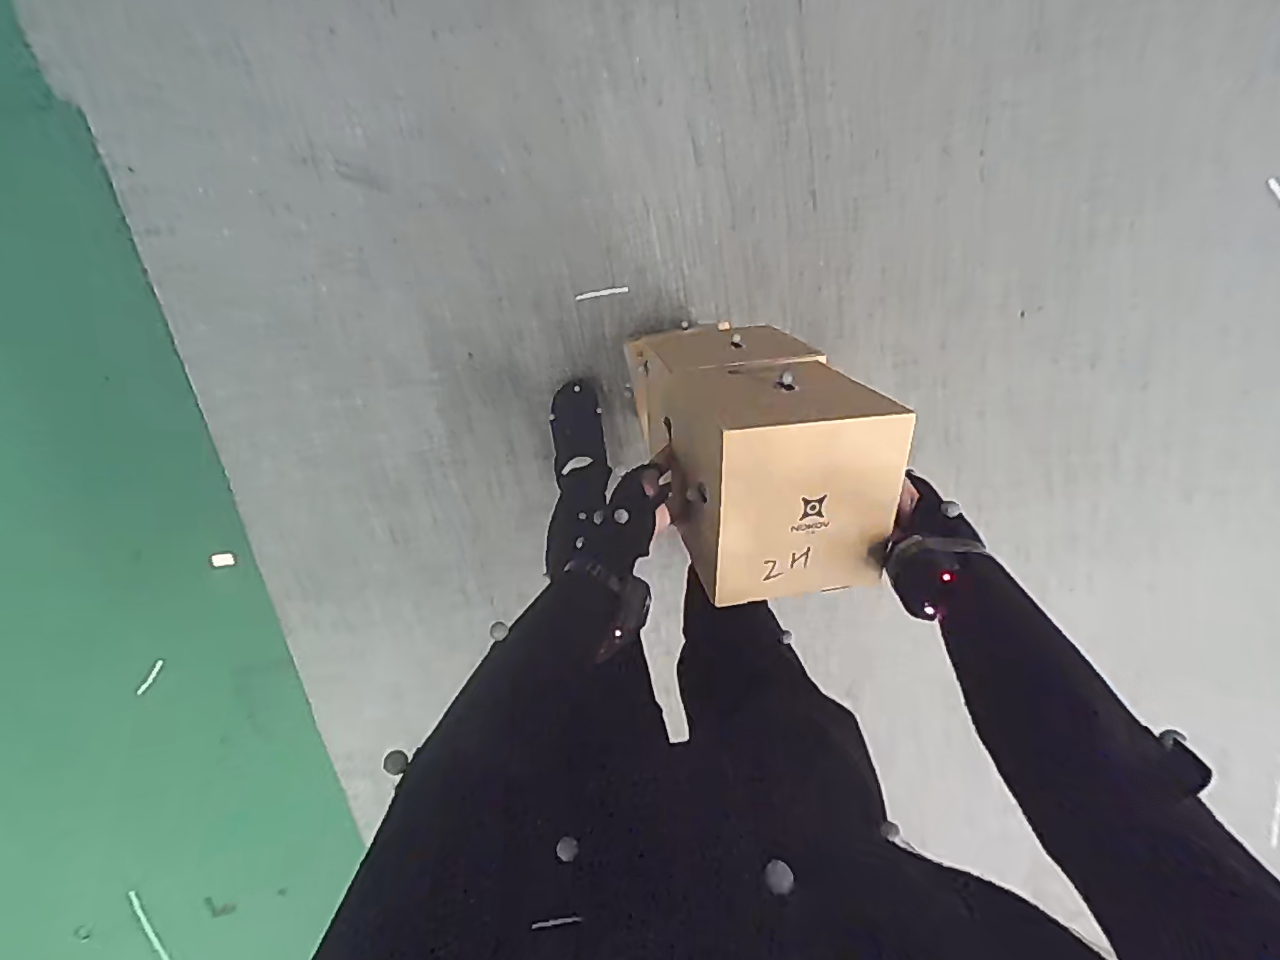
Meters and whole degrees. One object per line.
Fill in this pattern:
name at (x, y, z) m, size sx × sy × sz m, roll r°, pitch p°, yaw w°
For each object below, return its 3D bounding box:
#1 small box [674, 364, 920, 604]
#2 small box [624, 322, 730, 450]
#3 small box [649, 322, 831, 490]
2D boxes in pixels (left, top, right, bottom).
small box at (0.131, -0.009, 0.526) m, size 0.168 × 0.176 × 0.179 m, roll -6°, pitch 118°, yaw -8°
small box at (0.070, -0.166, 0.917) m, size 0.168 × 0.176 × 0.179 m, roll -12°, pitch 105°, yaw 1°
small box at (0.109, -0.092, 0.668) m, size 0.179 × 0.176 × 0.168 m, roll -8°, pitch 118°, yaw -7°
